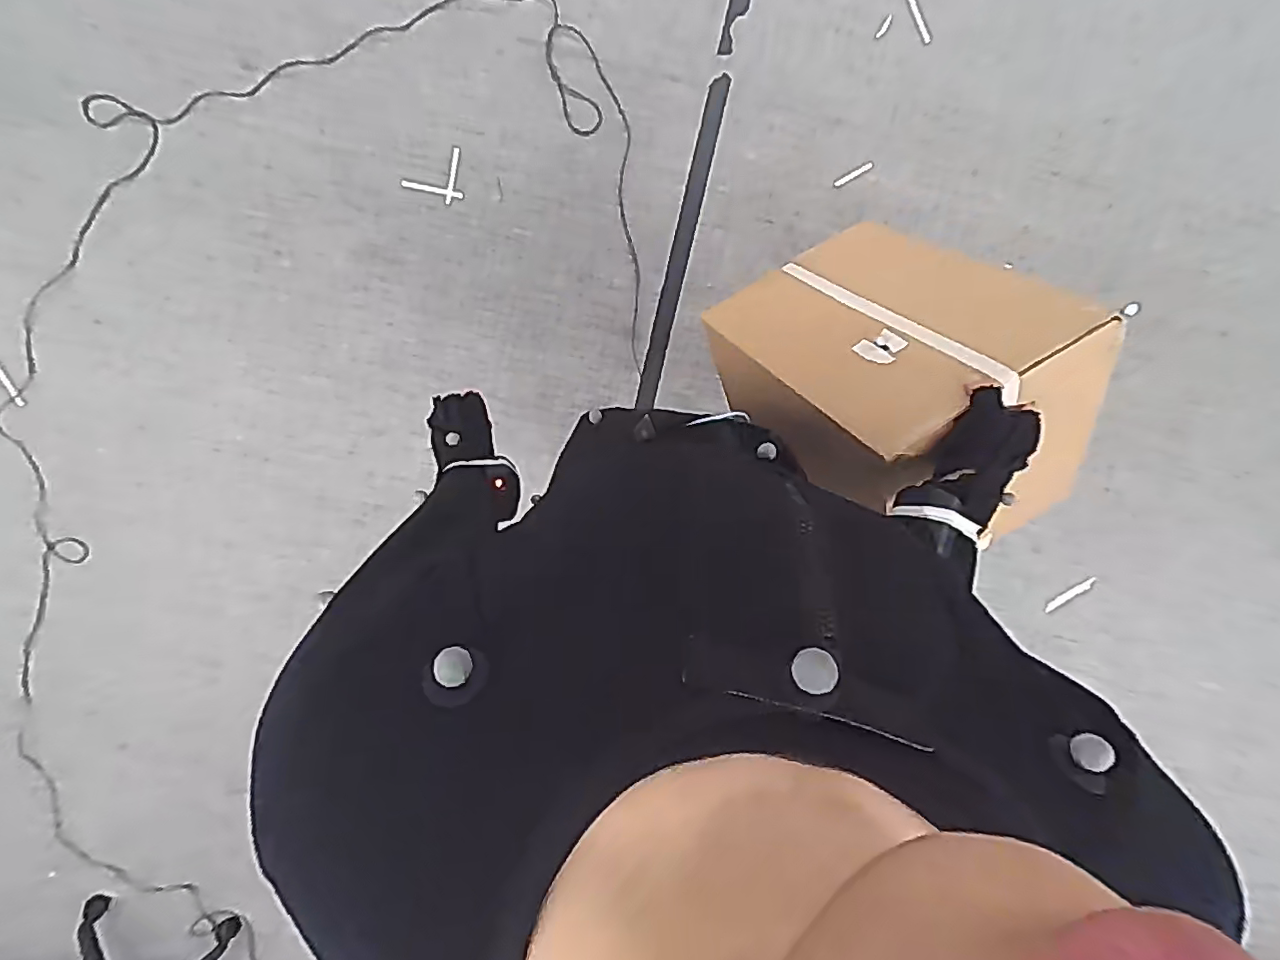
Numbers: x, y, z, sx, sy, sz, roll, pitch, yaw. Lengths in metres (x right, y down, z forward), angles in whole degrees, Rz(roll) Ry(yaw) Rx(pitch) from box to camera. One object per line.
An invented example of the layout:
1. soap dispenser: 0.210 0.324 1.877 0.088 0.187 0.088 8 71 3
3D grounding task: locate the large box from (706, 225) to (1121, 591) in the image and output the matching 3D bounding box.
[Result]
1. large box: 0.354 -0.120 0.811 0.320 0.408 0.320 -31 135 -3
